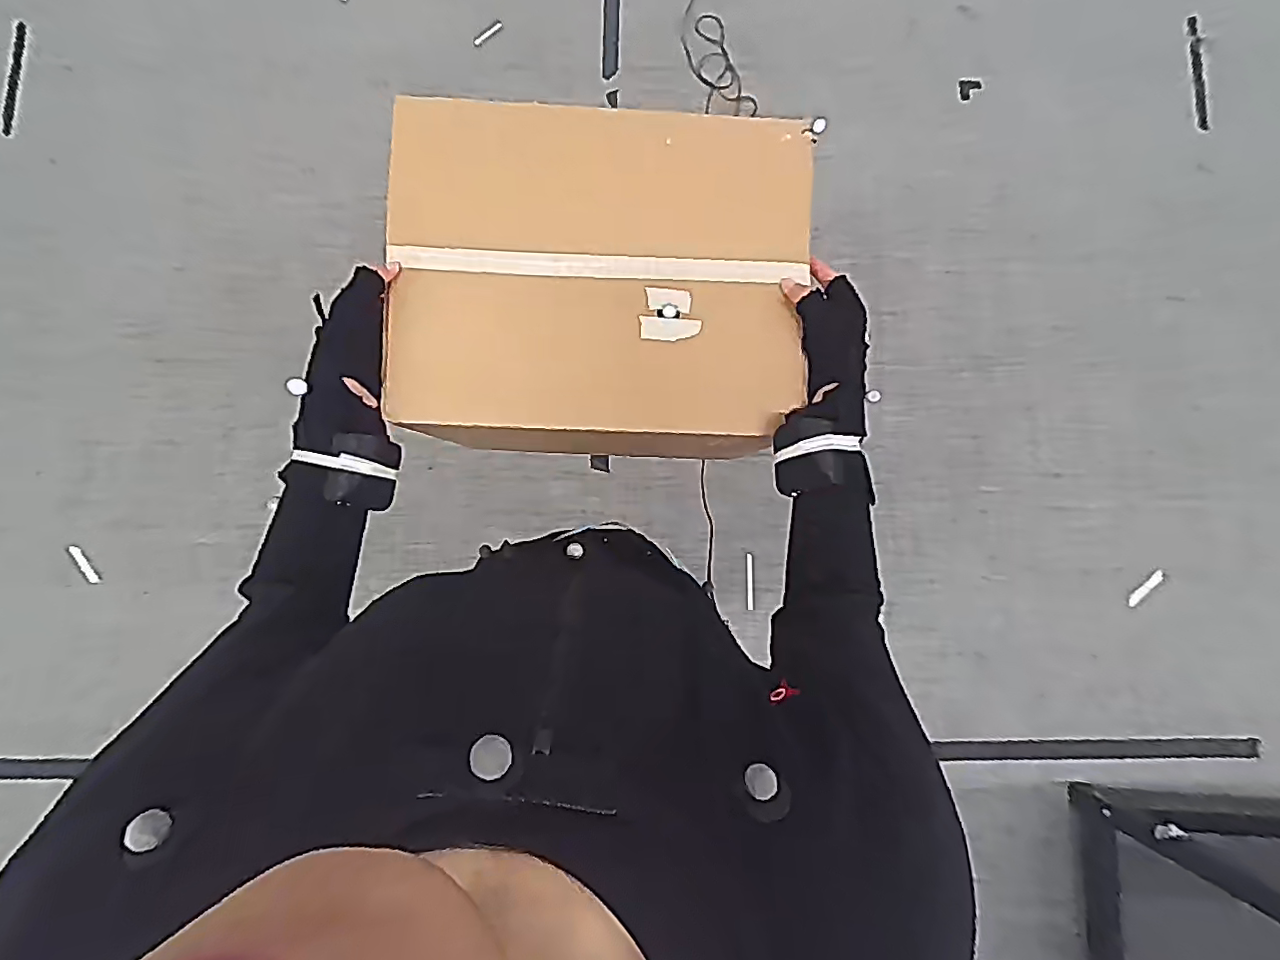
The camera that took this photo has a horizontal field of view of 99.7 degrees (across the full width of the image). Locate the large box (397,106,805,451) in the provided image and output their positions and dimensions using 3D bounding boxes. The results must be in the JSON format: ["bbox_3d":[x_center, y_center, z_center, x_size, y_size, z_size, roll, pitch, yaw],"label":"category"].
[{"bbox_3d":[-0.043,-0.205,0.682,0.408,0.320,0.320,2,90,-3],"label":"large box"}]
